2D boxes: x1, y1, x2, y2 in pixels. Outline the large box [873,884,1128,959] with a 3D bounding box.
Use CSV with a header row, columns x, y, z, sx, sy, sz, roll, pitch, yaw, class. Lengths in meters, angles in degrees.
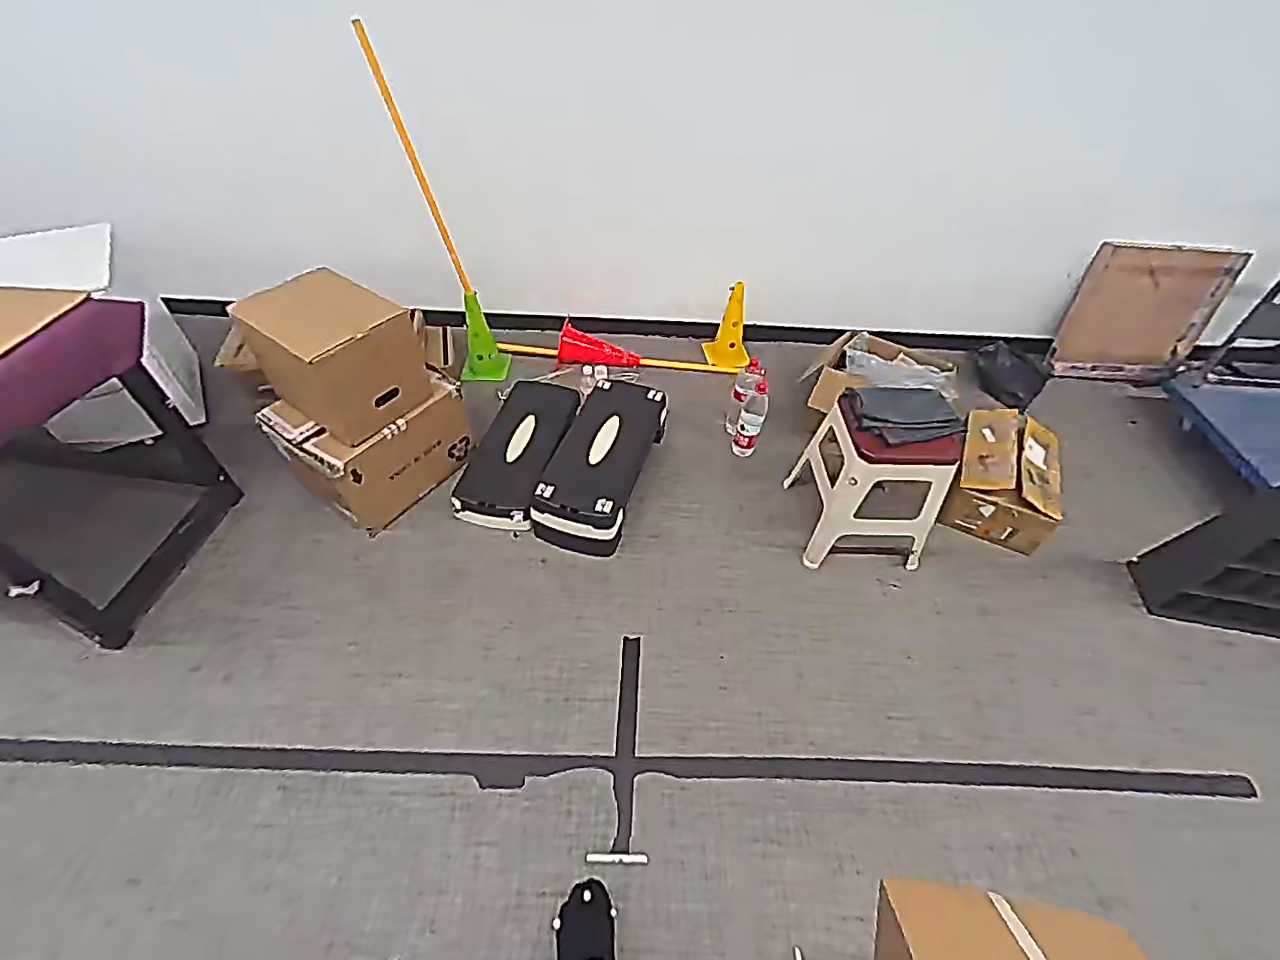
x,y,z,sx,sy,sz,roll,pitch,yaw,class
0.456,0.759,0.582,0.320,0.408,0.320,6,88,10,large box
